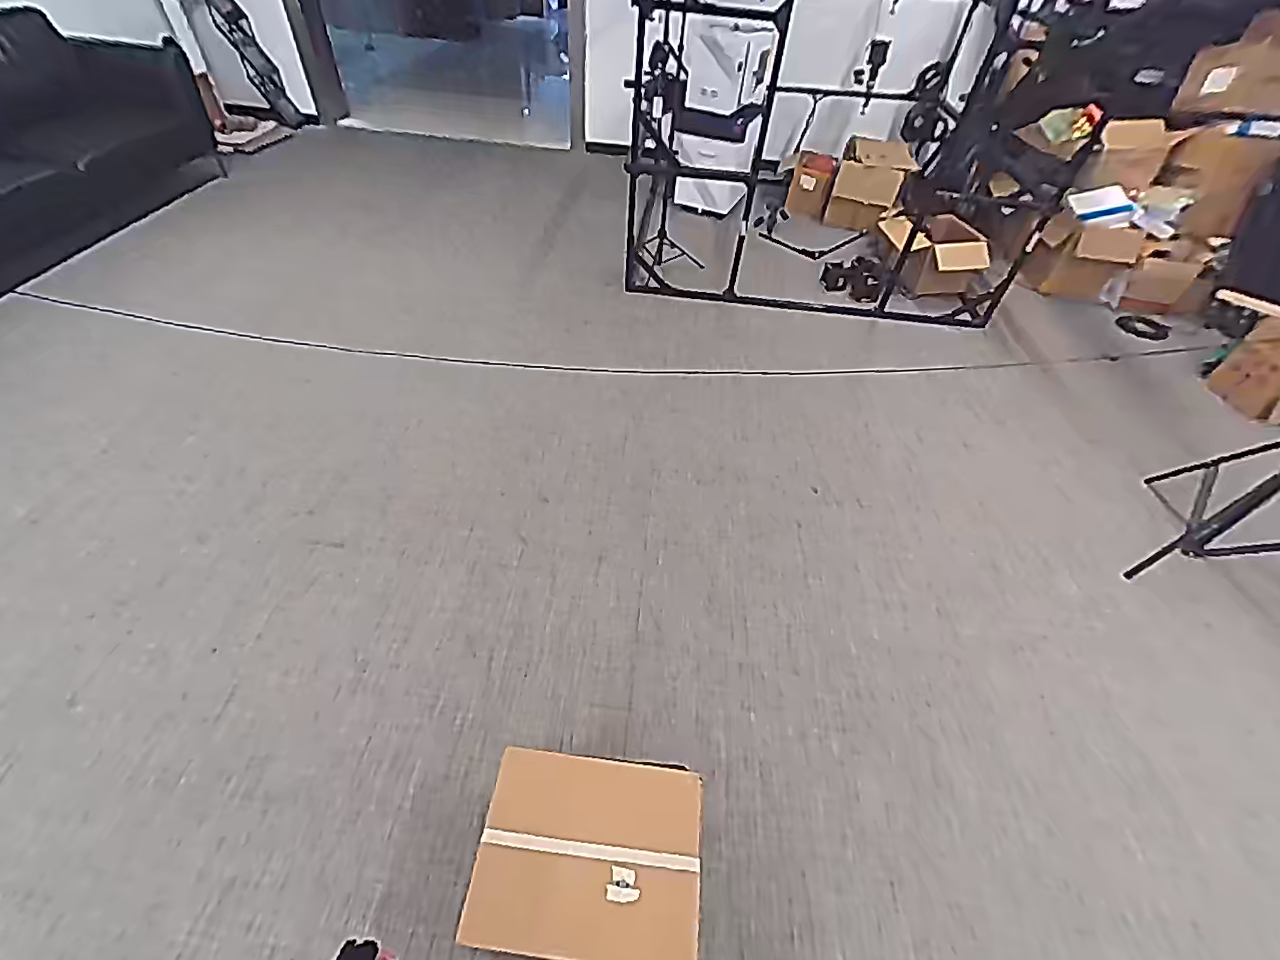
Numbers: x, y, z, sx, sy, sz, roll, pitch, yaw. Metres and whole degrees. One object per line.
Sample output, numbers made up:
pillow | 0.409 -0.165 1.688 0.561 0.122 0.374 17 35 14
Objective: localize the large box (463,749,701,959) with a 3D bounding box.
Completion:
large box | -0.100 0.787 1.107 0.408 0.320 0.320 8 47 1
